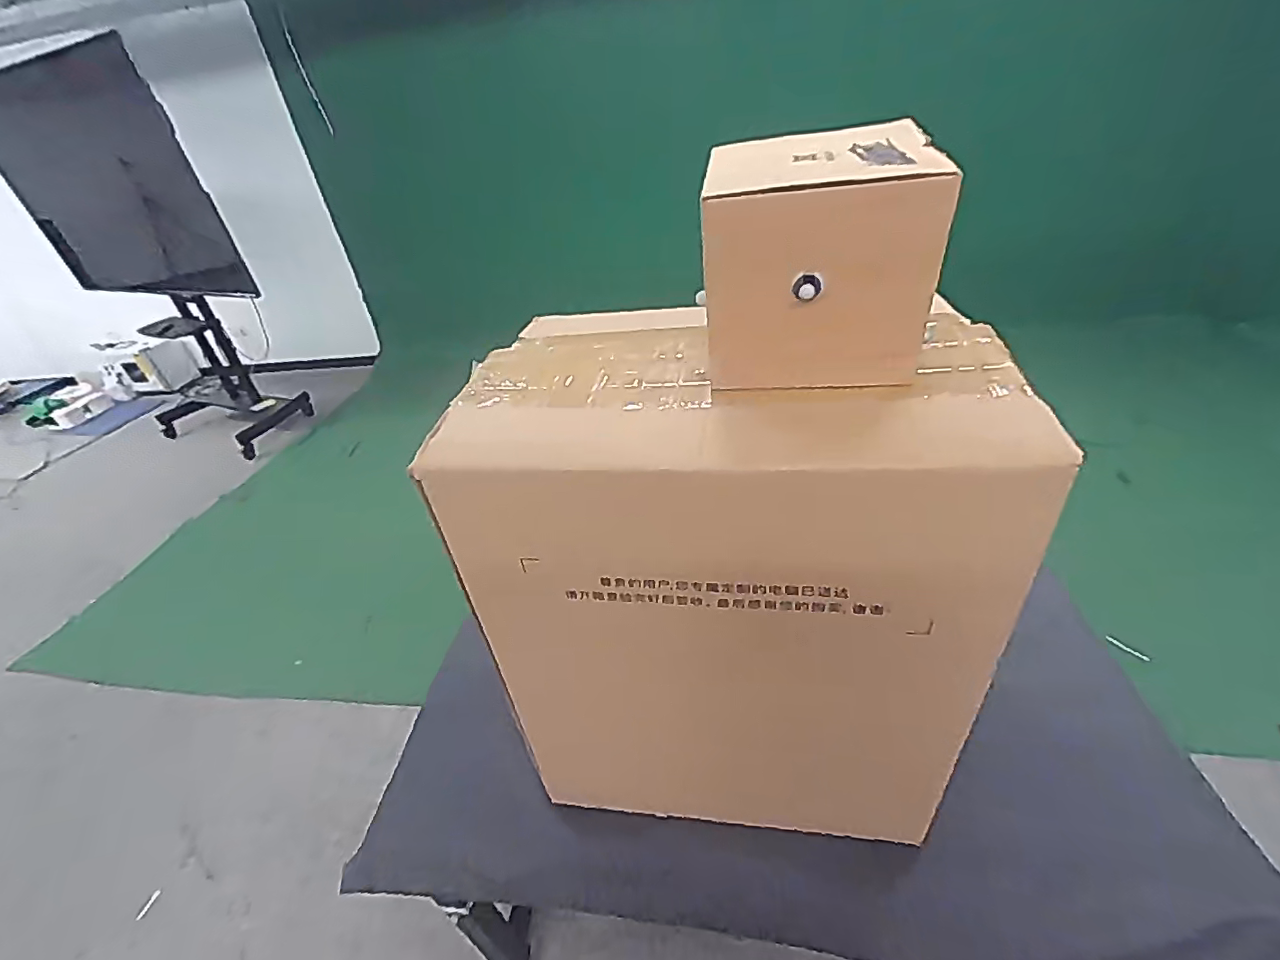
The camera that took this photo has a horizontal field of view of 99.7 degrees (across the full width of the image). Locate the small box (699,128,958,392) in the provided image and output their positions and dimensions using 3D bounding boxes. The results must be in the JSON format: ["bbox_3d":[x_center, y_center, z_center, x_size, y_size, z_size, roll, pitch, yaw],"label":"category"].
[{"bbox_3d":[0.152,-0.192,0.486,0.179,0.176,0.168,0,42,13],"label":"small box"}]
